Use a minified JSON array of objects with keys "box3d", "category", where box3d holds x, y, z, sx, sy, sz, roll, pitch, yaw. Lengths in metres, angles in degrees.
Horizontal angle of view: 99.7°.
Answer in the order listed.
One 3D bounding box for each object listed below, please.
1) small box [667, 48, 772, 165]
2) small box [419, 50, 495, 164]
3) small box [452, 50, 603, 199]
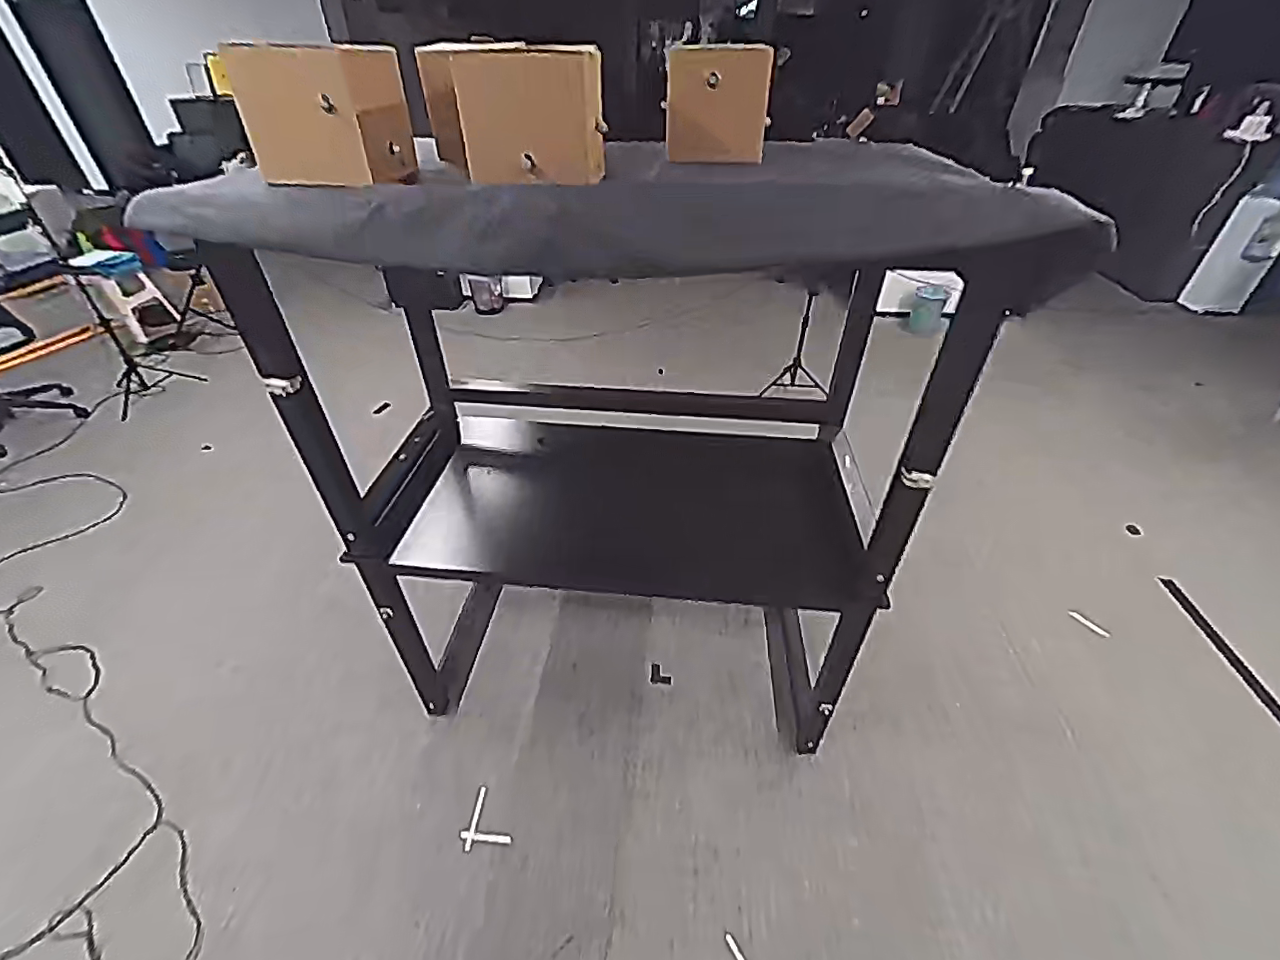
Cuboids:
[{"box3d":[0.142,-0.694,1.006,0.179,0.176,0.168,3,40,4],"category":"small box"},{"box3d":[-0.291,-0.704,1.021,0.168,0.176,0.179,-2,39,0],"category":"small box"},{"box3d":[-0.151,-0.525,0.800,0.179,0.176,0.168,3,39,3],"category":"small box"}]
